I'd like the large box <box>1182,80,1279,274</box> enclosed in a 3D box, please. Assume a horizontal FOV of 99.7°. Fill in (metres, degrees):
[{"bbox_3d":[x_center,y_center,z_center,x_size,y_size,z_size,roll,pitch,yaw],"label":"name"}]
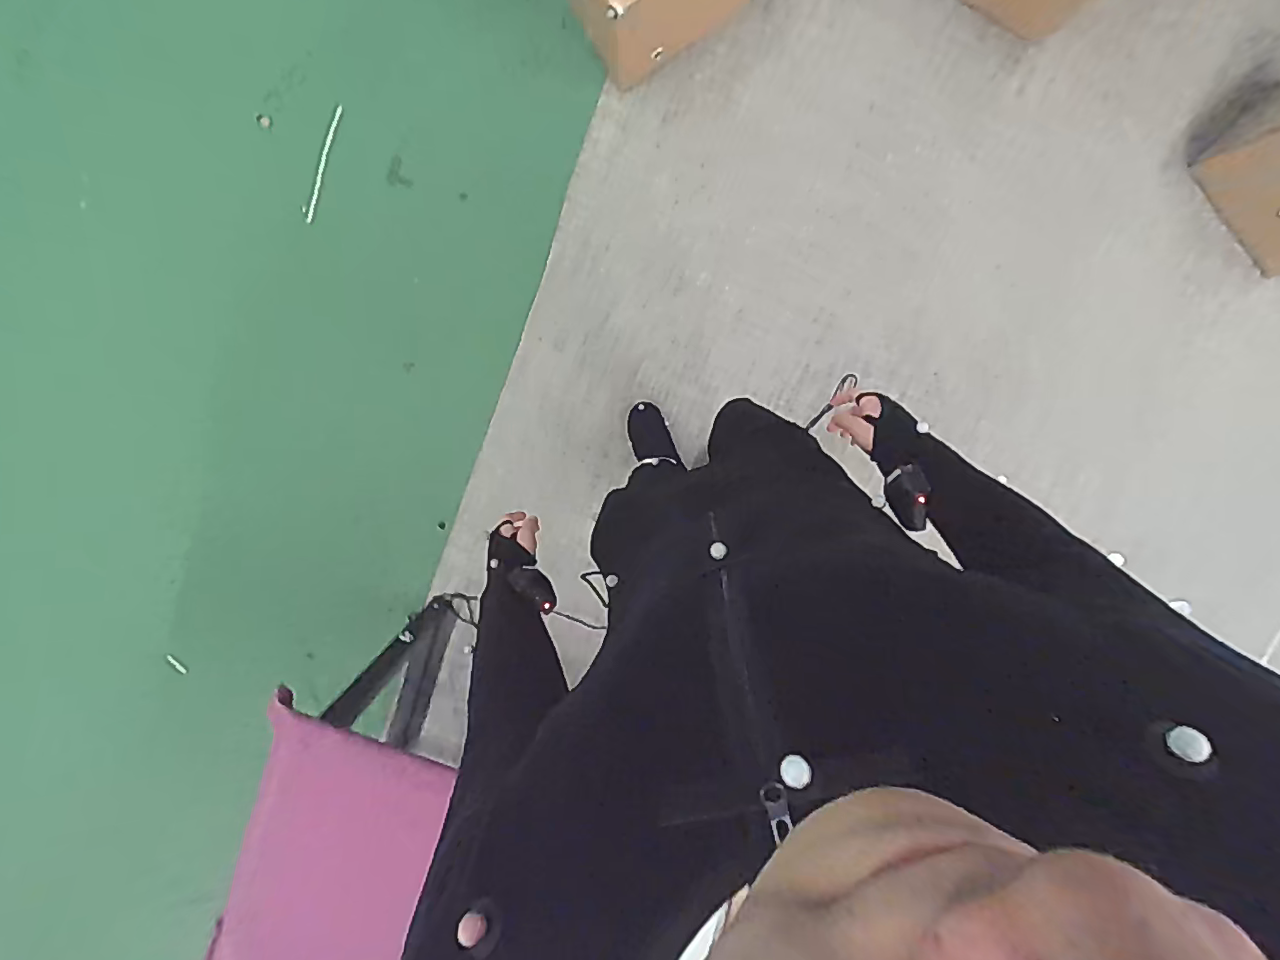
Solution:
[{"bbox_3d":[1.707,-0.784,1.321,0.408,0.320,0.320,45,97,-6],"label":"large box"}]
